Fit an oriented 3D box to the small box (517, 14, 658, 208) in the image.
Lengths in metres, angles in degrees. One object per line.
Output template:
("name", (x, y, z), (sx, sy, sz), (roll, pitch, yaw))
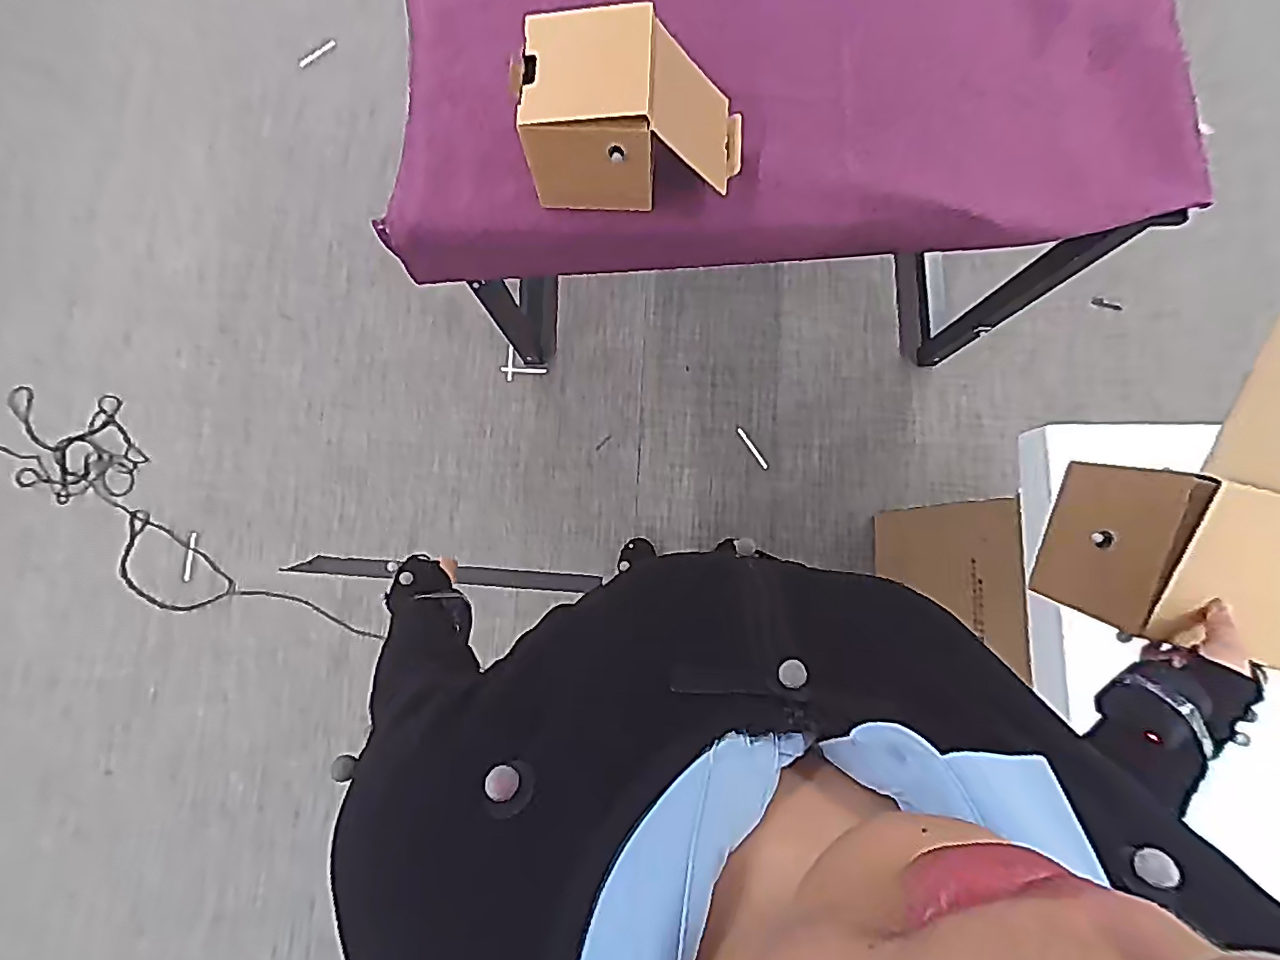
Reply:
("small box", (-0.066, -0.521, 0.783), (0.179, 0.176, 0.168), (3, 81, 2))
